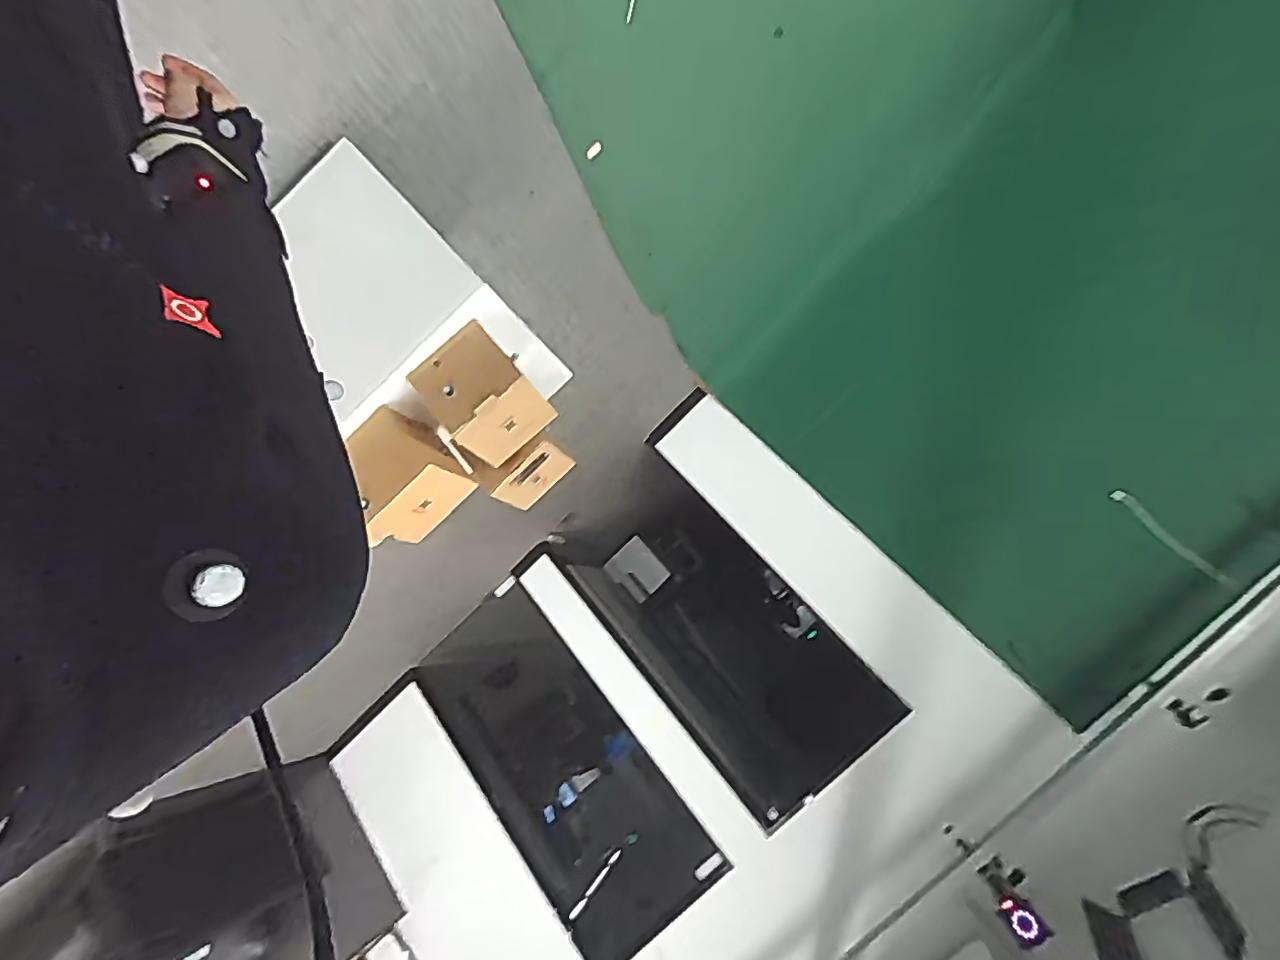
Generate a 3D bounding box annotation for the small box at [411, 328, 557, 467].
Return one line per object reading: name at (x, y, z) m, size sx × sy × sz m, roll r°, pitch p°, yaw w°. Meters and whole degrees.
small box at (-0.293, -0.158, 1.023) m, size 0.168 × 0.176 × 0.179 m, roll -41°, pitch 161°, yaw -2°
